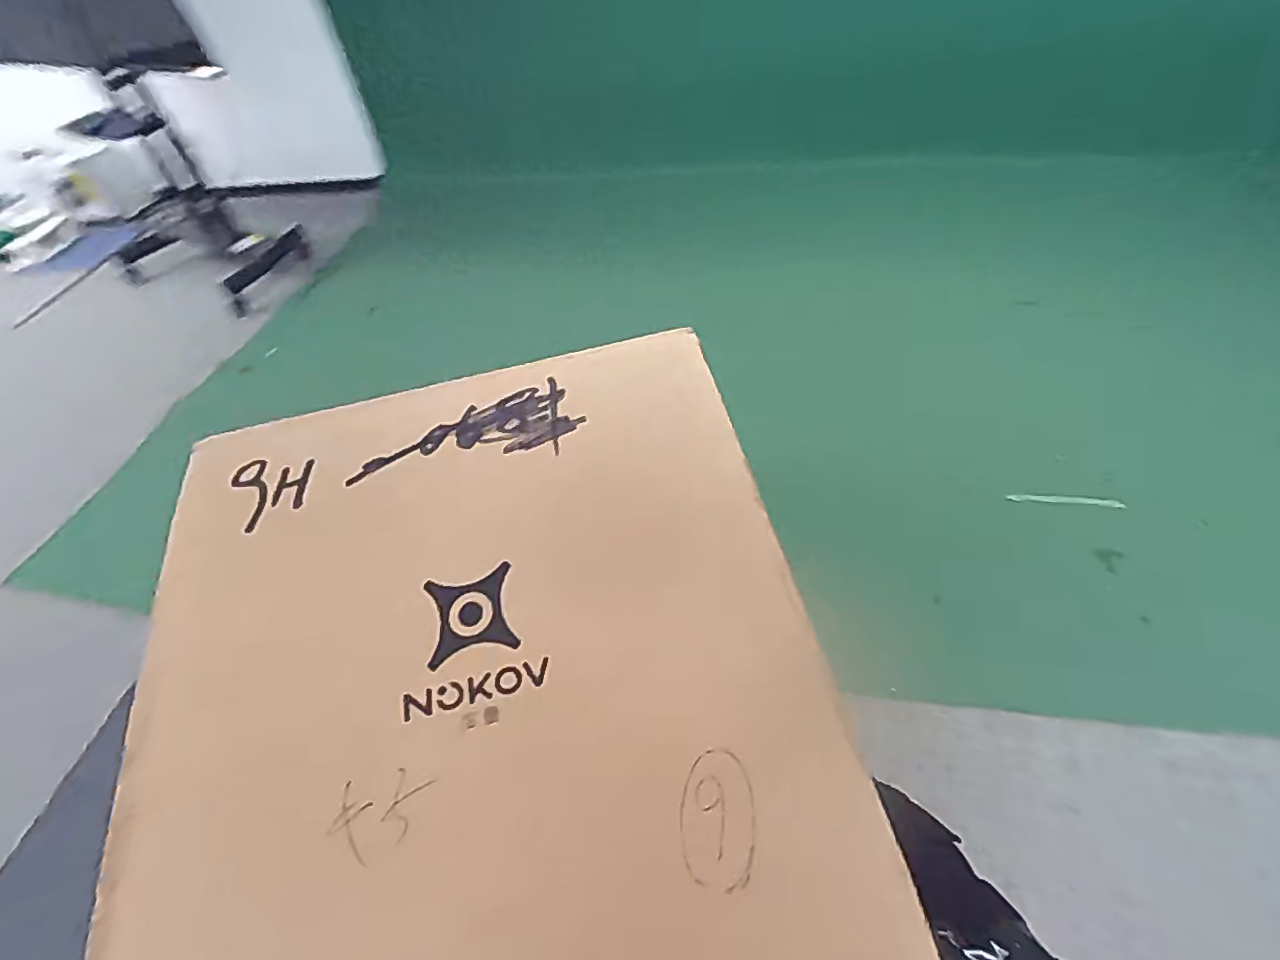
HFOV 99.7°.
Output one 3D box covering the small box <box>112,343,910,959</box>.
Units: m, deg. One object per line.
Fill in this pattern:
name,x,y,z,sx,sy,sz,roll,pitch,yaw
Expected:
small box,-0.033,0.082,0.208,0.168,0.176,0.179,-12,63,-2
